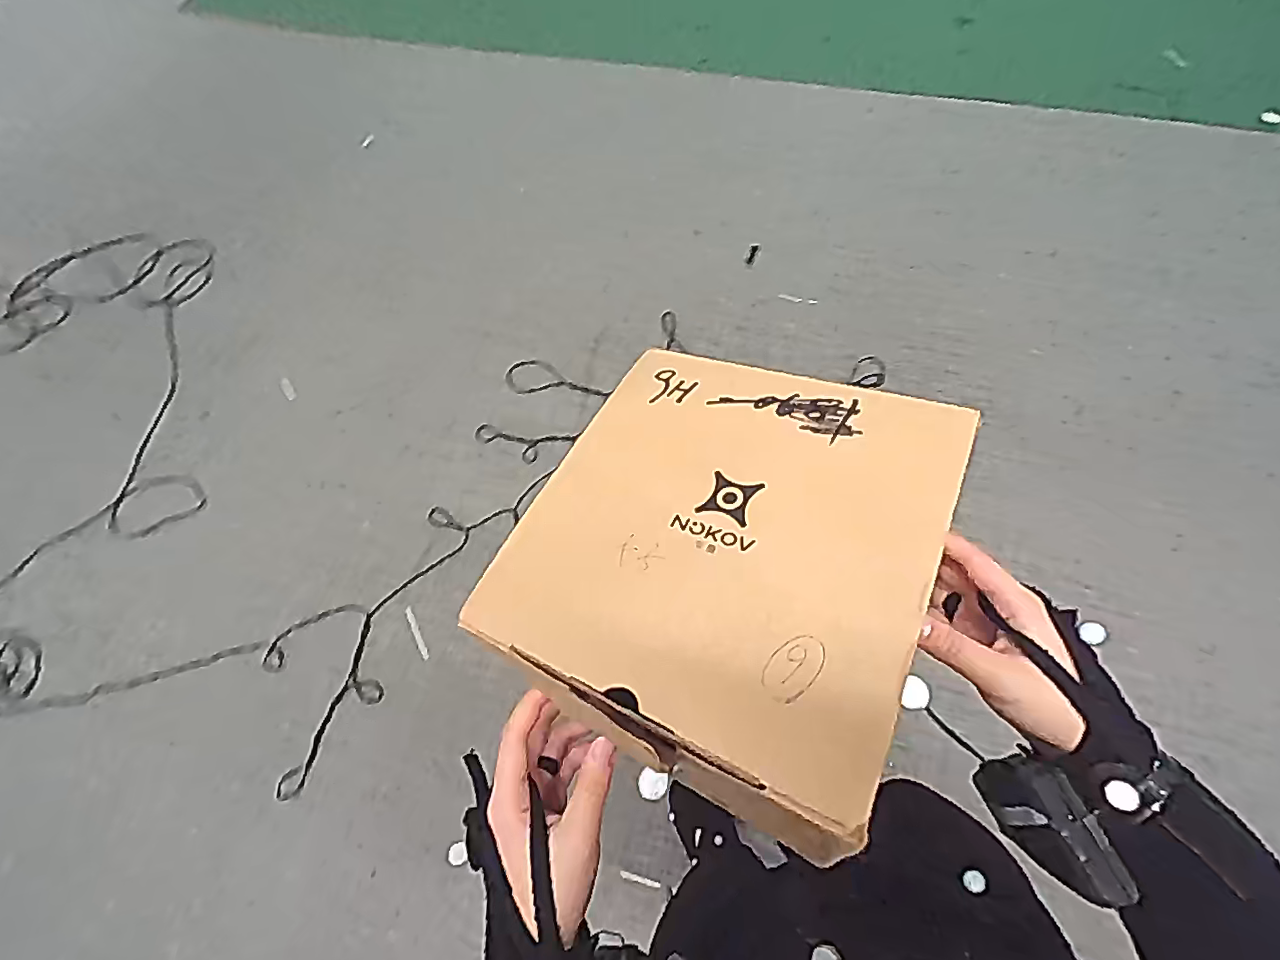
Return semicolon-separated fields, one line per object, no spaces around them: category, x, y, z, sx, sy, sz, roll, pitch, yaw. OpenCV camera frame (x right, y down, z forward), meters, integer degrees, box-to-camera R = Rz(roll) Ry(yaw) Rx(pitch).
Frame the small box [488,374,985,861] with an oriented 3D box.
small box;0.059;0.075;0.297;0.168;0.176;0.179;18;60;26
